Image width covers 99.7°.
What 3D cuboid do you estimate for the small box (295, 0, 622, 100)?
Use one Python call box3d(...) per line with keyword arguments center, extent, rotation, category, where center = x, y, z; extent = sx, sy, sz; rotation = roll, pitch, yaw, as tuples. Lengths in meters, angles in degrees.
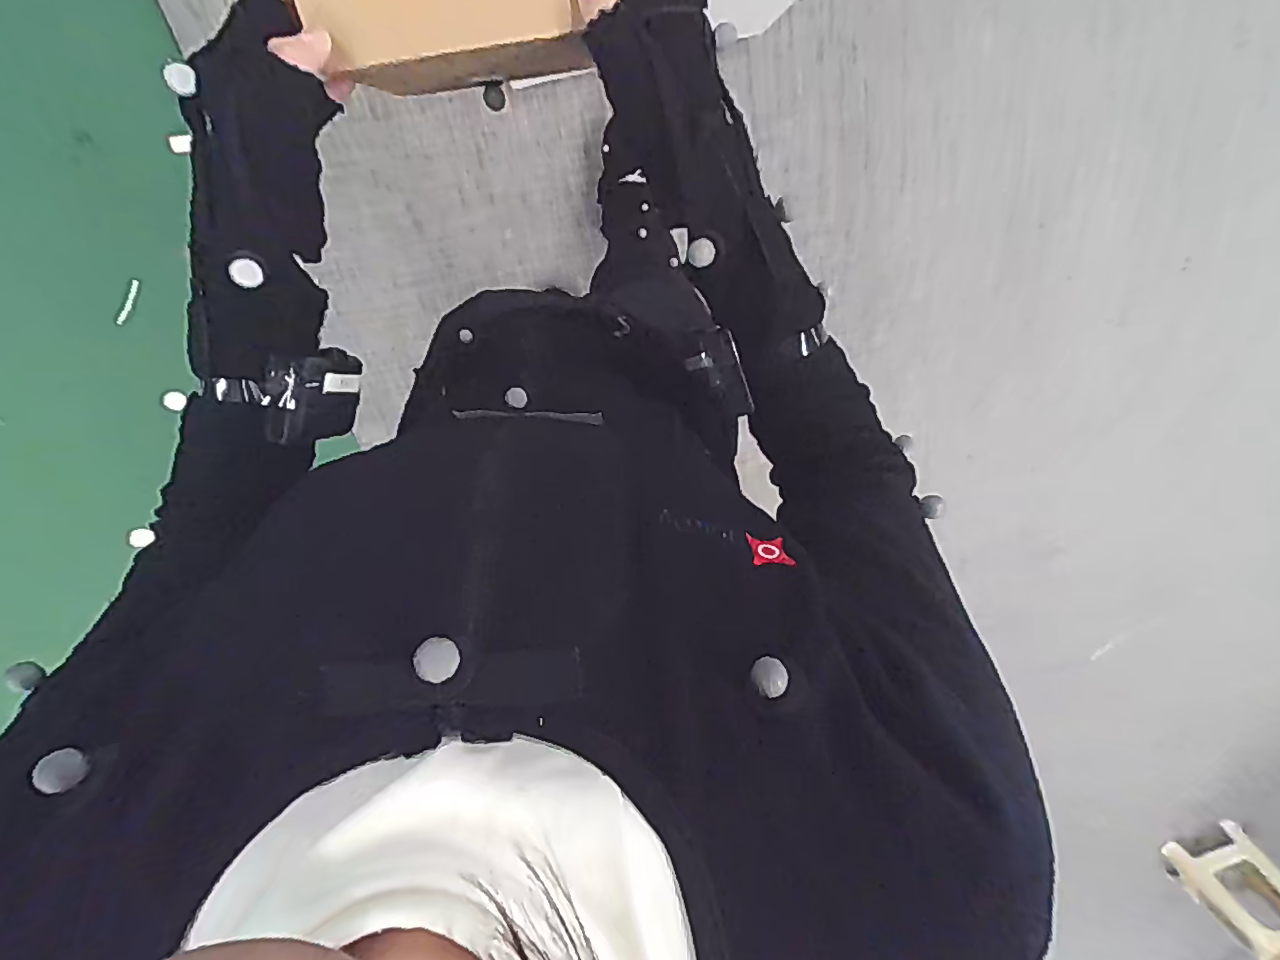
box3d(center=(-0.107, -0.343, 0.313), extent=(0.168, 0.176, 0.179), rotation=(-9, 122, 1), category="small box")
